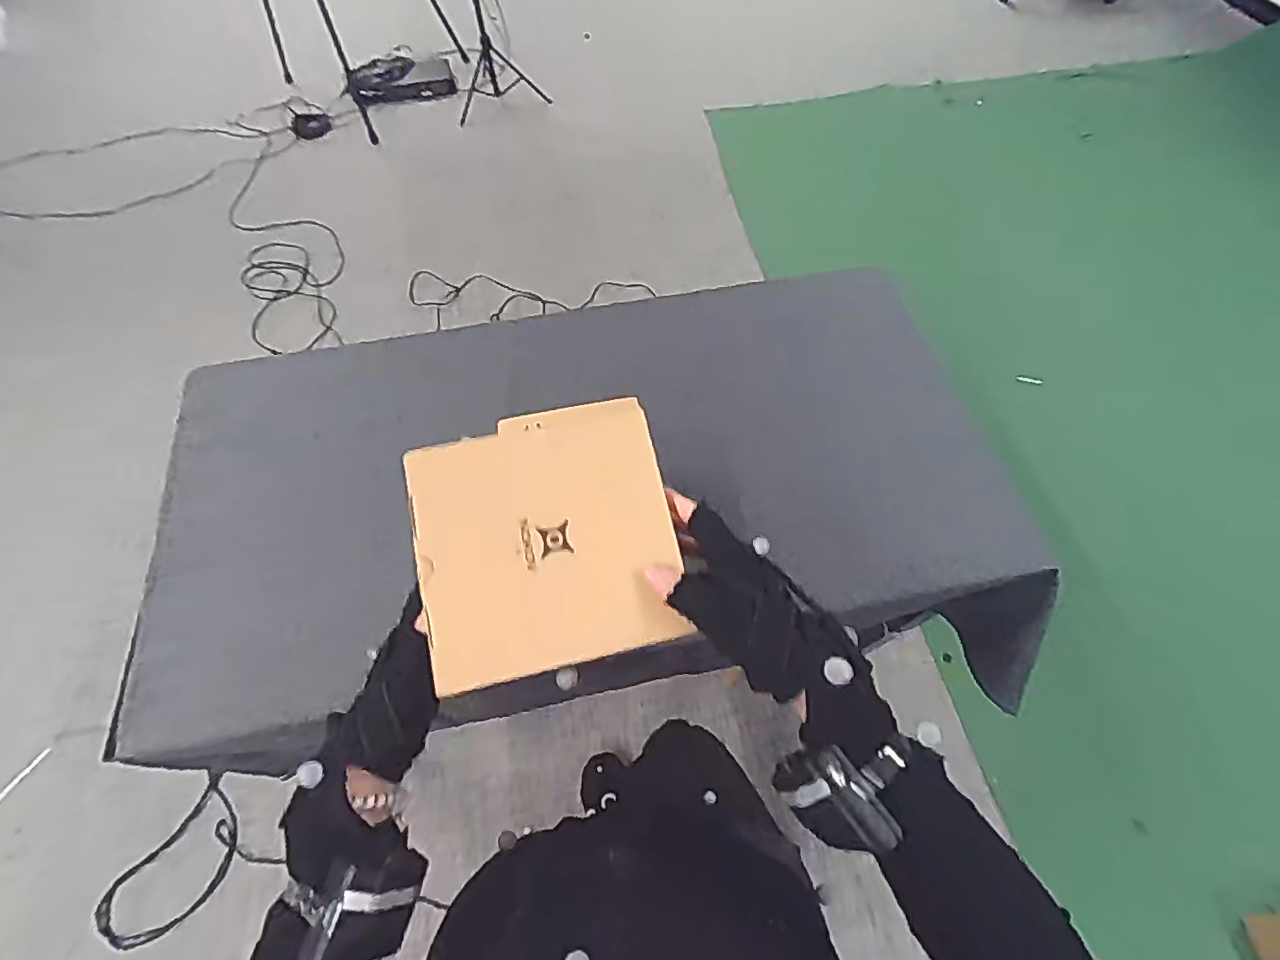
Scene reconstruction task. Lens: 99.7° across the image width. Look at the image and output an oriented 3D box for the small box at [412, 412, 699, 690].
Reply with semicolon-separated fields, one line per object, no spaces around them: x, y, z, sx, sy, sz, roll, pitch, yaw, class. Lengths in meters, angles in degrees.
-0.067;0.062;0.451;0.179;0.176;0.168;-12;76;-7;small box
